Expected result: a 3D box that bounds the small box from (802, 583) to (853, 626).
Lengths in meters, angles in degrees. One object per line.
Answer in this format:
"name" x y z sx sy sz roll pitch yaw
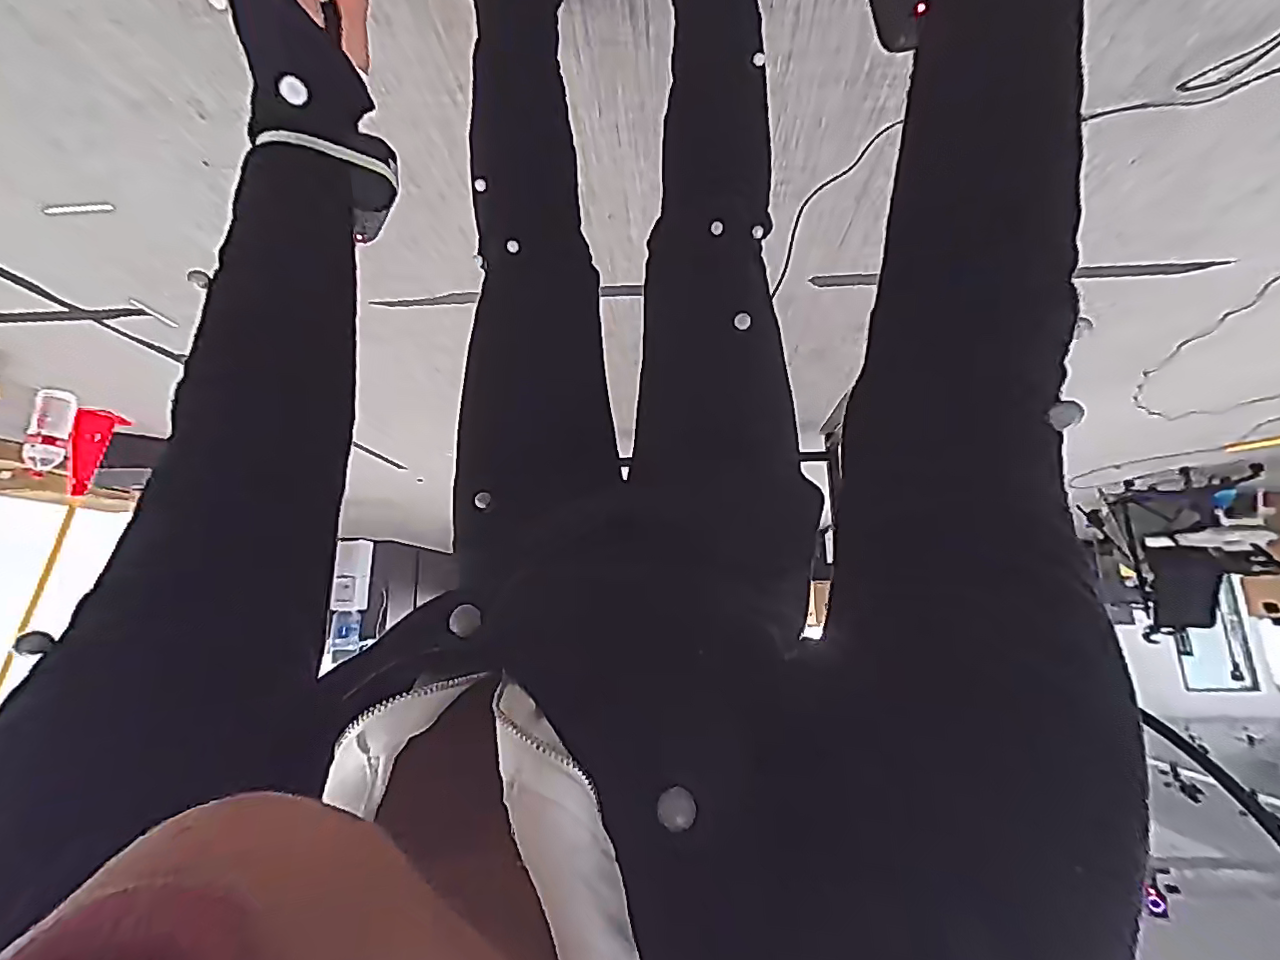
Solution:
"small box" 0.773 0.517 2.249 0.168 0.176 0.179 -1 167 6
